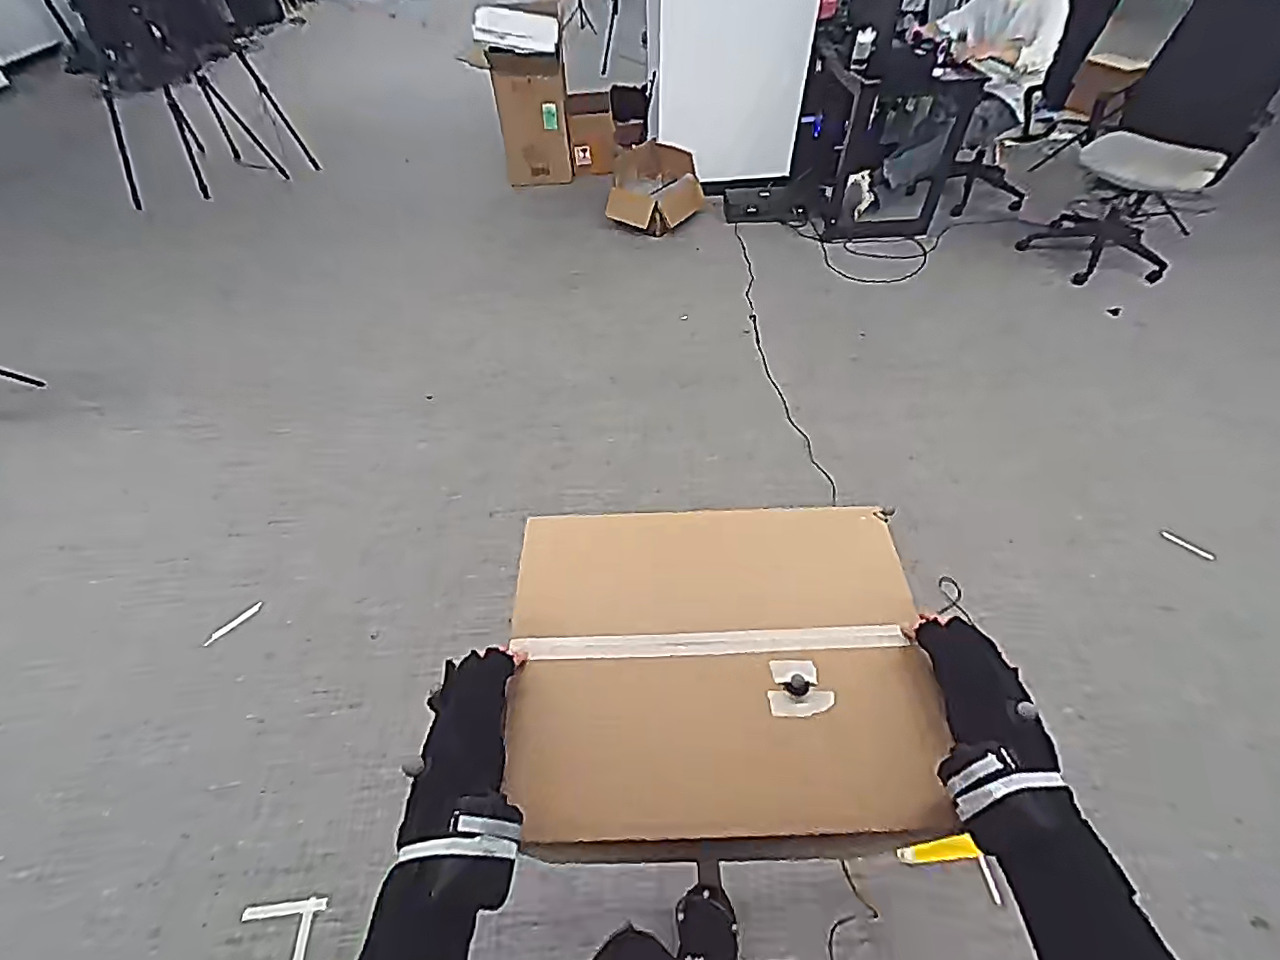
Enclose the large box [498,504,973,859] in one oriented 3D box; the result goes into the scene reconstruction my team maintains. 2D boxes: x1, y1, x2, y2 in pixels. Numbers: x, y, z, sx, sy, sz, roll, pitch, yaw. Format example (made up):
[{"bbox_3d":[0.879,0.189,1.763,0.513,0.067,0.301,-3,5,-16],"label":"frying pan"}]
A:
[{"bbox_3d":[0.075,0.248,0.650,0.408,0.320,0.320,-2,52,0],"label":"large box"}]
